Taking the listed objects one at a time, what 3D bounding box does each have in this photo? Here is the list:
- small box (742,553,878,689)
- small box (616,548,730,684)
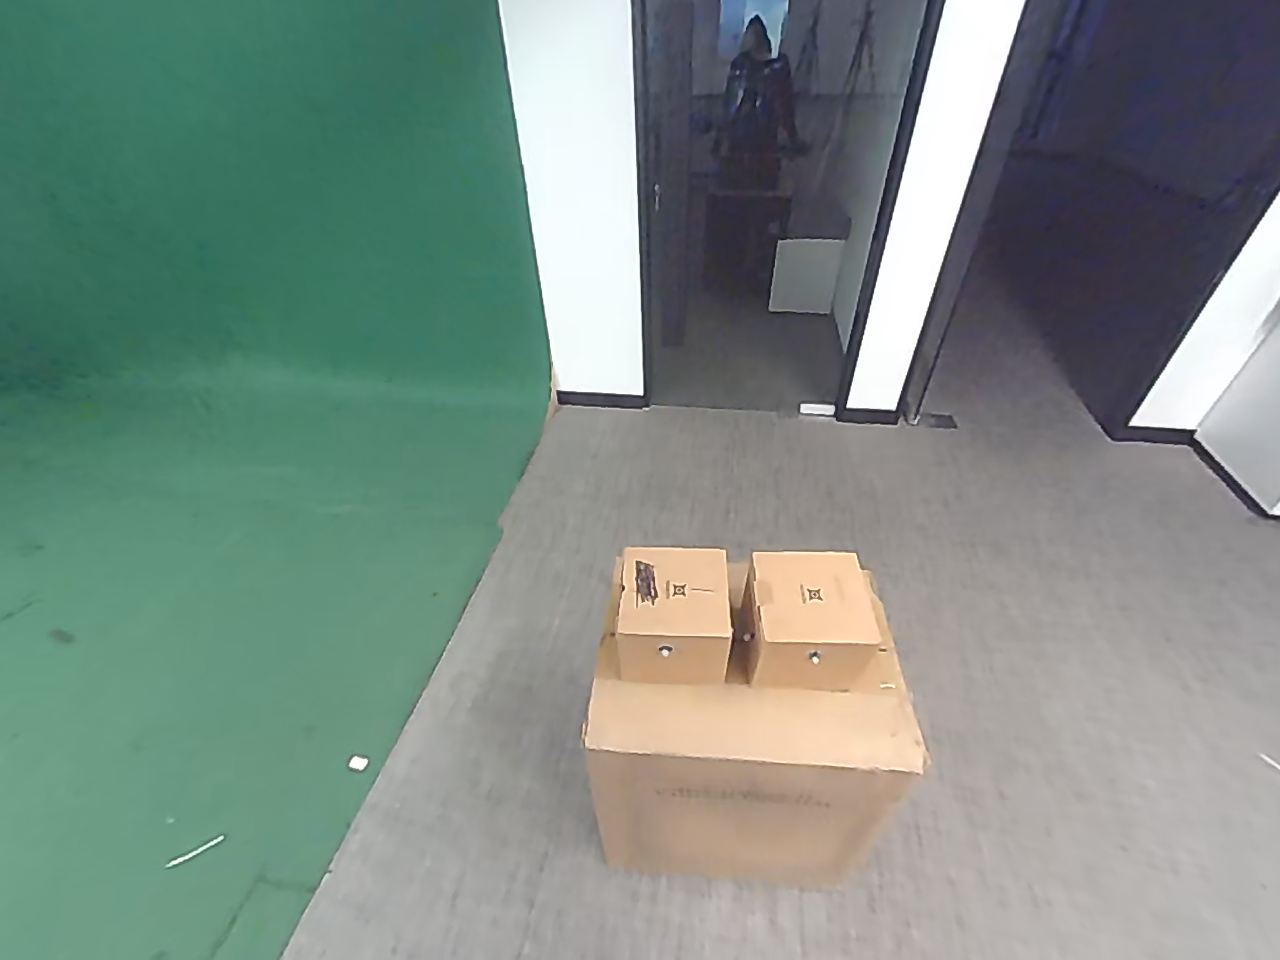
[{"bbox_3d":[0.271,0.239,0.913,0.179,0.176,0.168,1,46,2],"label":"small box"},{"bbox_3d":[0.057,0.234,0.926,0.179,0.176,0.168,1,46,3],"label":"small box"}]
